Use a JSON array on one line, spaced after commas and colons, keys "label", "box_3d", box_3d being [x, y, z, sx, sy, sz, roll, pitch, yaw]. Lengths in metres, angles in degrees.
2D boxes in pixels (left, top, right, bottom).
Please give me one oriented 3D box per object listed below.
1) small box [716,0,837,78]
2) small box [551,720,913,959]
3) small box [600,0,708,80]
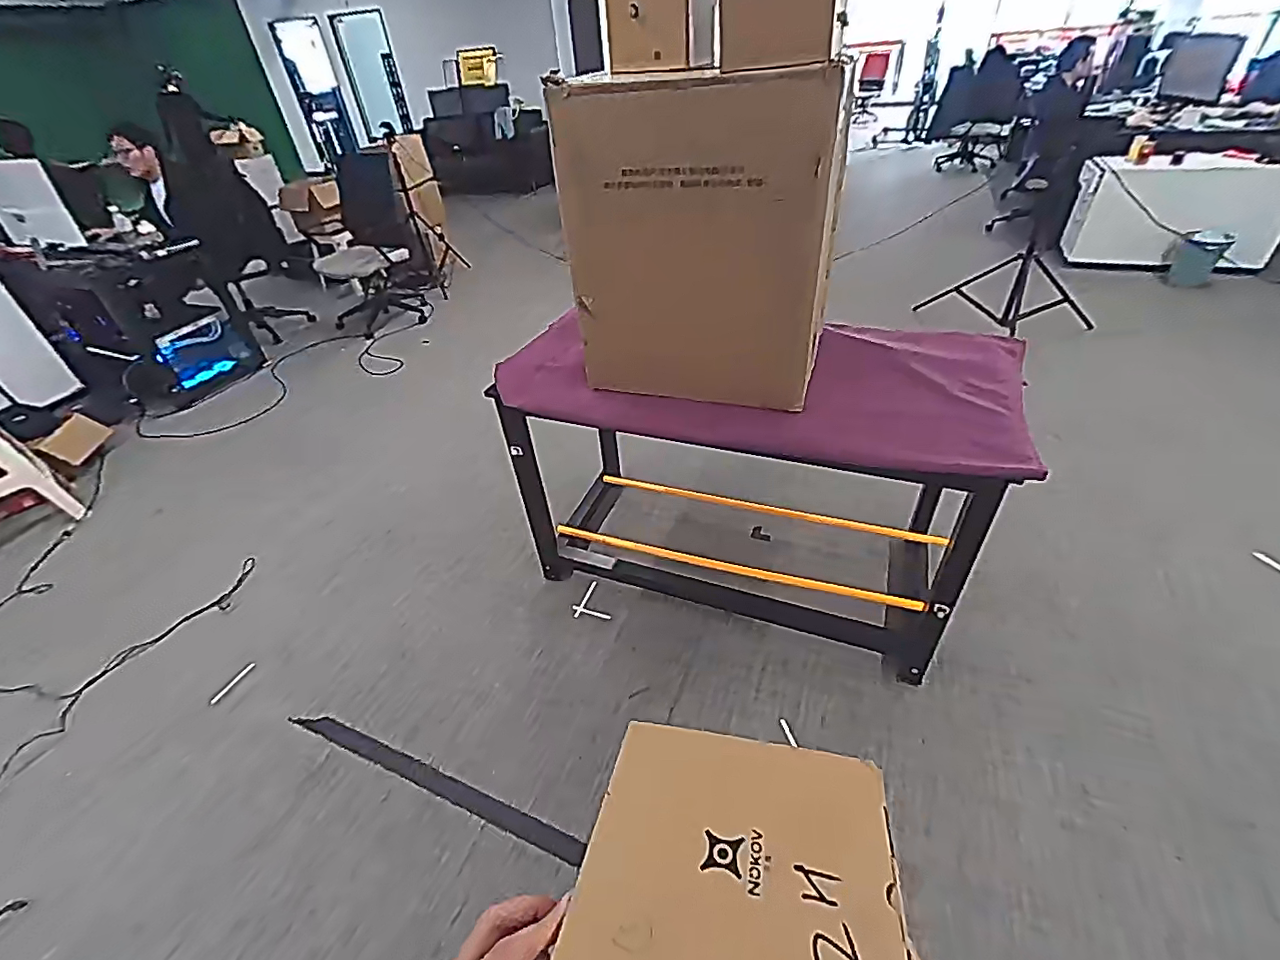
[{"label": "small box", "box_3d": [0.221, -0.758, 0.866, 0.179, 0.176, 0.168, 7, 41, 17]}, {"label": "small box", "box_3d": [0.063, 0.289, 0.343, 0.179, 0.176, 0.168, 3, 26, 15]}, {"label": "small box", "box_3d": [0.035, -0.899, 1.067, 0.168, 0.176, 0.179, 12, 42, 20]}]
